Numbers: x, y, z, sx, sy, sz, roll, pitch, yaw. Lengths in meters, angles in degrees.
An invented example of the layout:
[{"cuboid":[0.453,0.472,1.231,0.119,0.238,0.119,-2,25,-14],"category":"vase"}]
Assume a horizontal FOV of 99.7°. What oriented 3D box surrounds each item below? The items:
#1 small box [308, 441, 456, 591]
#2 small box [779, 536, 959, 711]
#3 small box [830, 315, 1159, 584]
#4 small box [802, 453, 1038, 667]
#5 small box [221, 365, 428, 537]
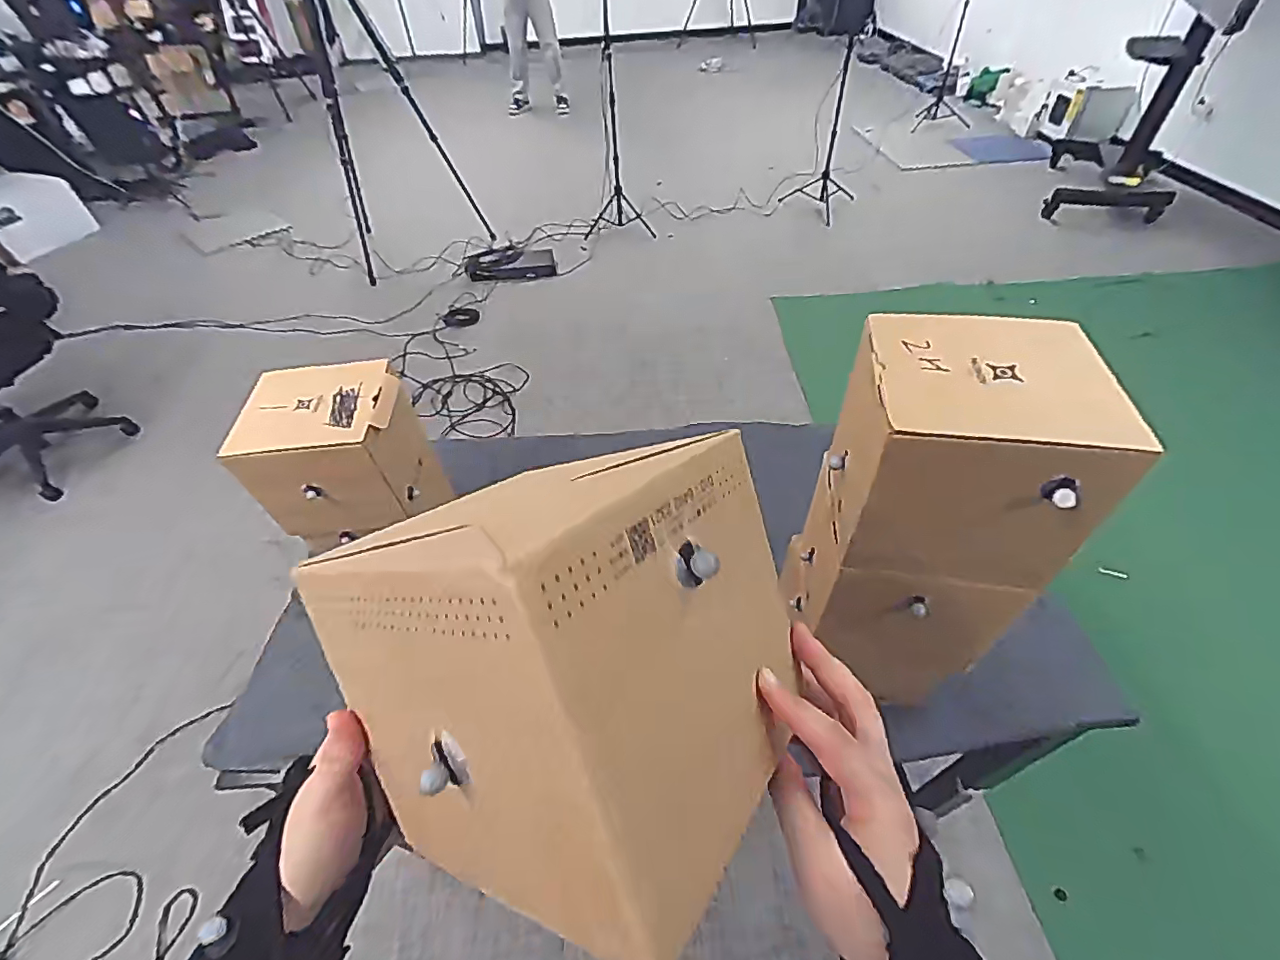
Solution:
[{"cuboid":[-0.413,0.060,0.891,0.168,0.176,0.179,-6,48,-3],"category":"small box"},{"cuboid":[0.291,0.190,0.726,0.168,0.176,0.179,-4,47,1],"category":"small box"},{"cuboid":[0.278,-0.025,0.480,0.179,0.176,0.168,5,47,10],"category":"small box"},{"cuboid":[0.284,0.090,0.598,0.179,0.176,0.168,4,47,9],"category":"small box"},{"cuboid":[-0.418,-0.038,0.757,0.179,0.176,0.168,-6,49,-2],"category":"small box"}]
